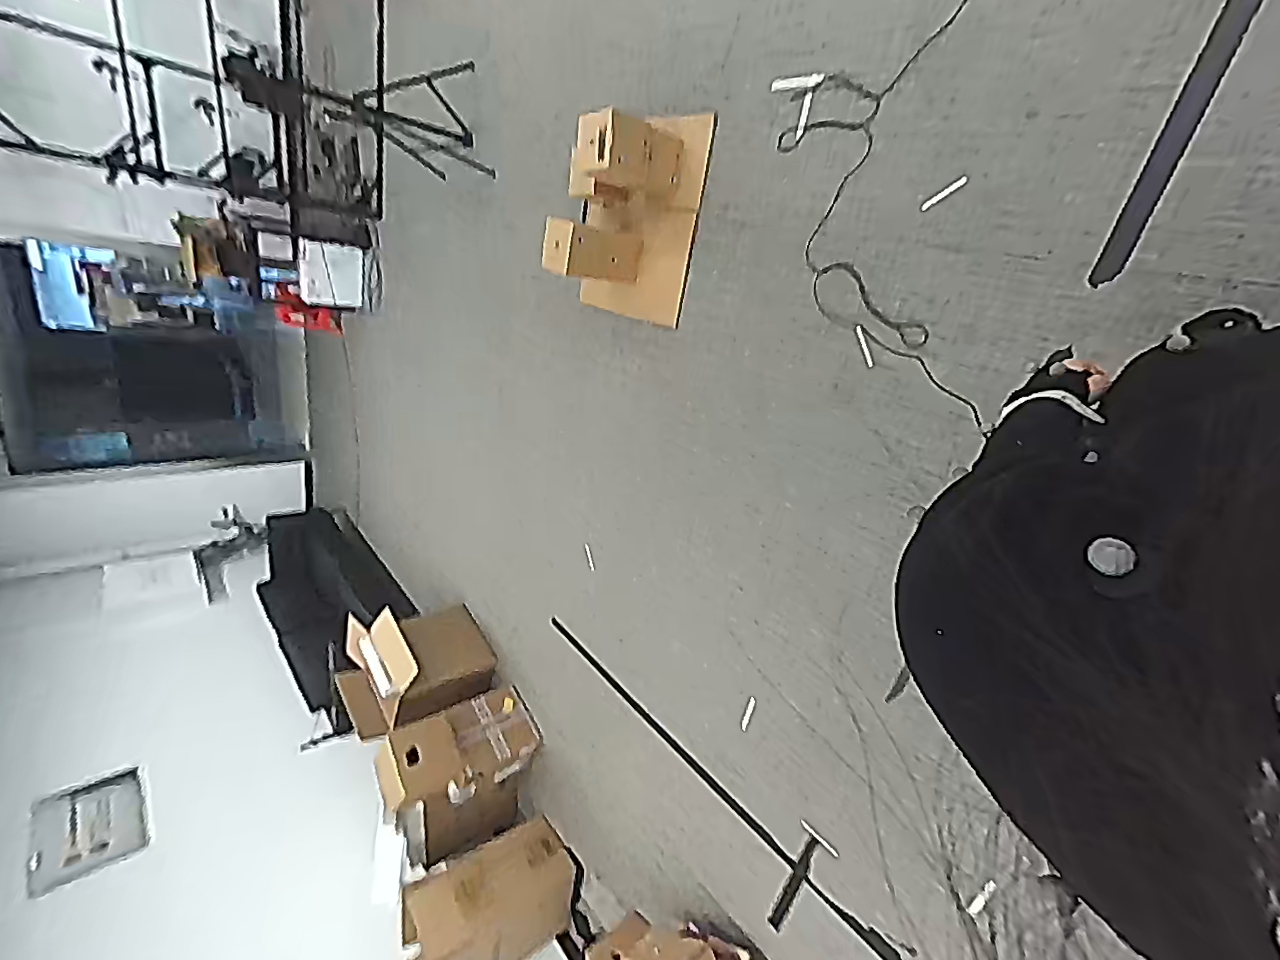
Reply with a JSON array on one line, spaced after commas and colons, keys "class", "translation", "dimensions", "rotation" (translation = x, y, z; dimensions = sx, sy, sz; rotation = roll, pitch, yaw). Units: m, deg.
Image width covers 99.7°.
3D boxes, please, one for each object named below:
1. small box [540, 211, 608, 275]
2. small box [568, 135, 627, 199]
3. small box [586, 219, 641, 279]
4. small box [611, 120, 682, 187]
[{"class": "small box", "translation": [-0.238, -0.861, 1.969], "dimensions": [0.168, 0.176, 0.179], "rotation": [35, 123, 38]}, {"class": "small box", "translation": [-0.154, -1.188, 2.060], "dimensions": [0.168, 0.176, 0.179], "rotation": [26, 117, 43]}, {"class": "small box", "translation": [-0.117, -0.885, 2.078], "dimensions": [0.168, 0.176, 0.179], "rotation": [34, 122, 38]}, {"class": "small box", "translation": [0.024, -1.127, 1.877], "dimensions": [0.179, 0.176, 0.168], "rotation": [25, 116, 42]}]
